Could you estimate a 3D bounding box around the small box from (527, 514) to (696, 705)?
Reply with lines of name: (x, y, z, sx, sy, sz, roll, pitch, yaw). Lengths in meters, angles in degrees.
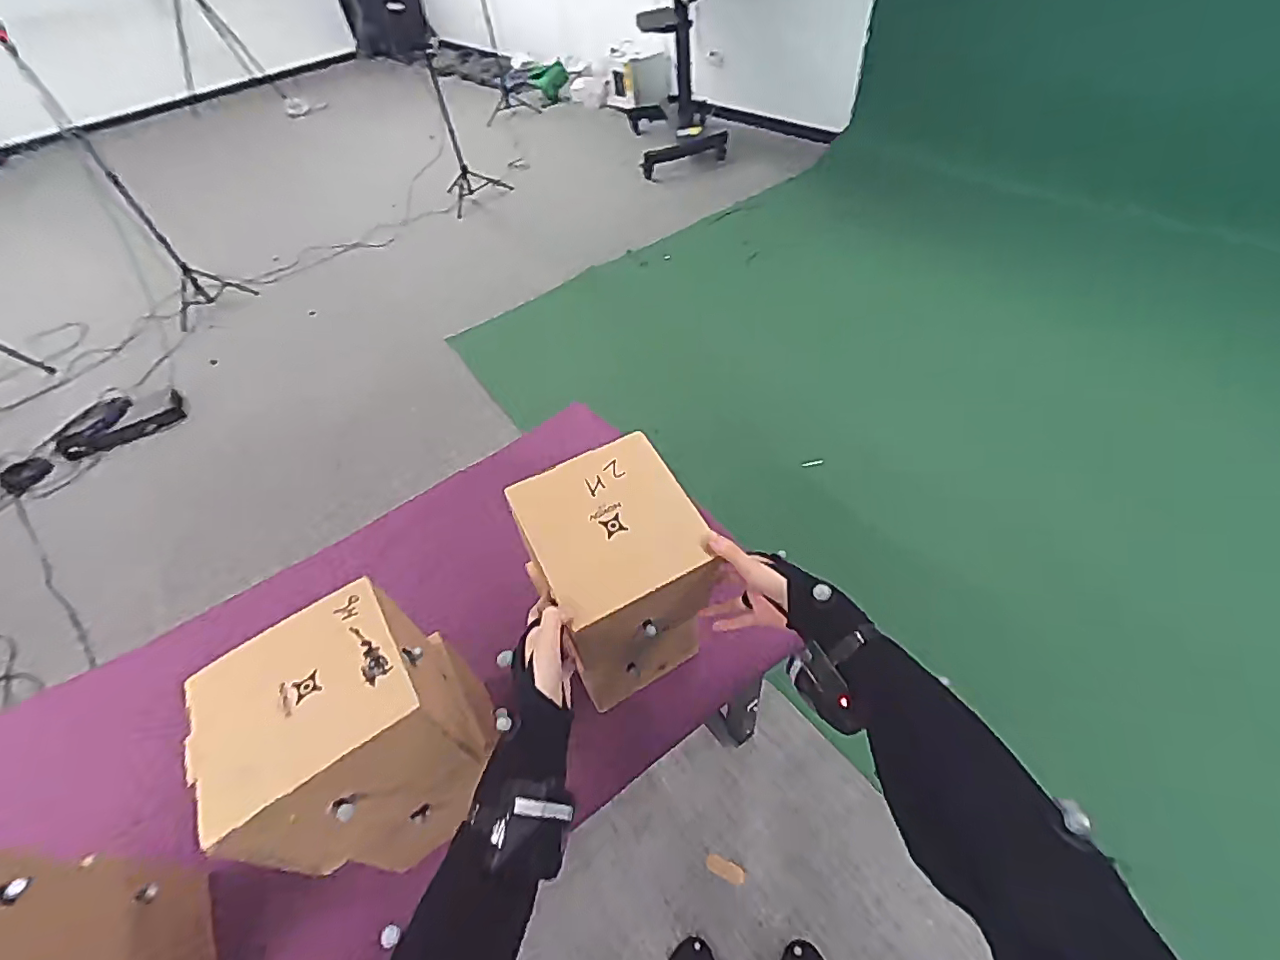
small box: (-0.032, 0.187, 0.753, 0.168, 0.176, 0.179, -27, 52, -15)

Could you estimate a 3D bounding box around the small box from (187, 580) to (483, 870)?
small box: (-0.284, 0.239, 0.526, 0.179, 0.176, 0.168, -32, 52, -18)

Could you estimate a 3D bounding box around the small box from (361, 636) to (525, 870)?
small box: (-0.267, 0.334, 0.659, 0.179, 0.176, 0.168, -30, 51, -18)

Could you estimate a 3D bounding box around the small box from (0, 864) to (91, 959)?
small box: (-0.569, 0.426, 0.404, 0.168, 0.176, 0.179, -36, 53, -21)
